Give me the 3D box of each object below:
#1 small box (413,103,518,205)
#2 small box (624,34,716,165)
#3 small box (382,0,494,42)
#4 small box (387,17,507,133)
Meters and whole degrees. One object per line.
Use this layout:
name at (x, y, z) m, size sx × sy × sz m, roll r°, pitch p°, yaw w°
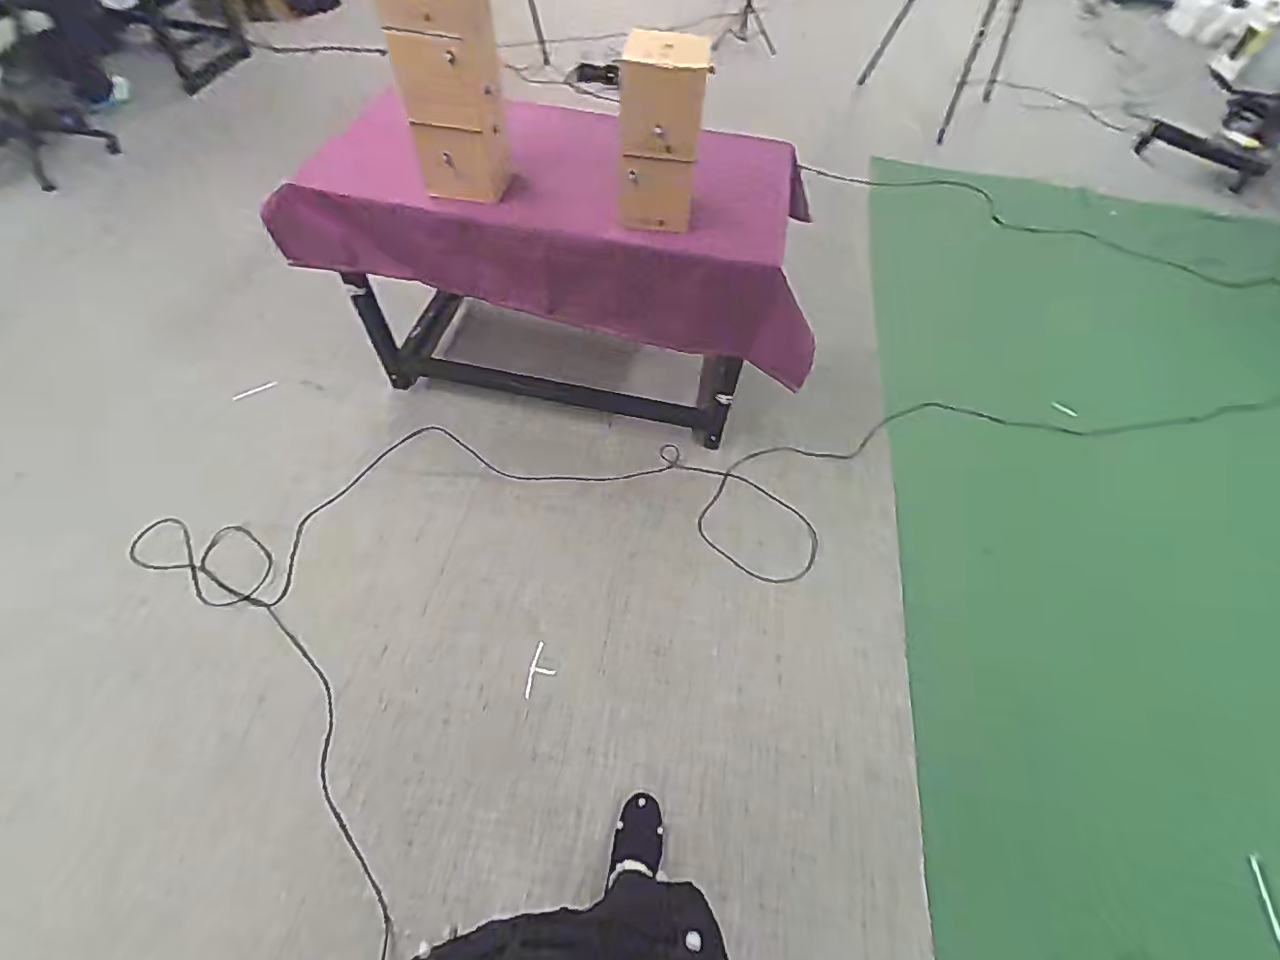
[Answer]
small box at (-0.406, -0.783, 1.291) m, size 0.179 × 0.176 × 0.168 m, roll 9°, pitch 57°, yaw 2°
small box at (0.058, -0.789, 1.125) m, size 0.168 × 0.176 × 0.179 m, roll 8°, pitch 55°, yaw 2°
small box at (-0.388, -0.963, 1.021) m, size 0.168 × 0.176 × 0.179 m, roll 12°, pitch 55°, yaw 2°
small box at (-0.400, -0.870, 1.154) m, size 0.179 × 0.176 × 0.168 m, roll 9°, pitch 56°, yaw 1°
